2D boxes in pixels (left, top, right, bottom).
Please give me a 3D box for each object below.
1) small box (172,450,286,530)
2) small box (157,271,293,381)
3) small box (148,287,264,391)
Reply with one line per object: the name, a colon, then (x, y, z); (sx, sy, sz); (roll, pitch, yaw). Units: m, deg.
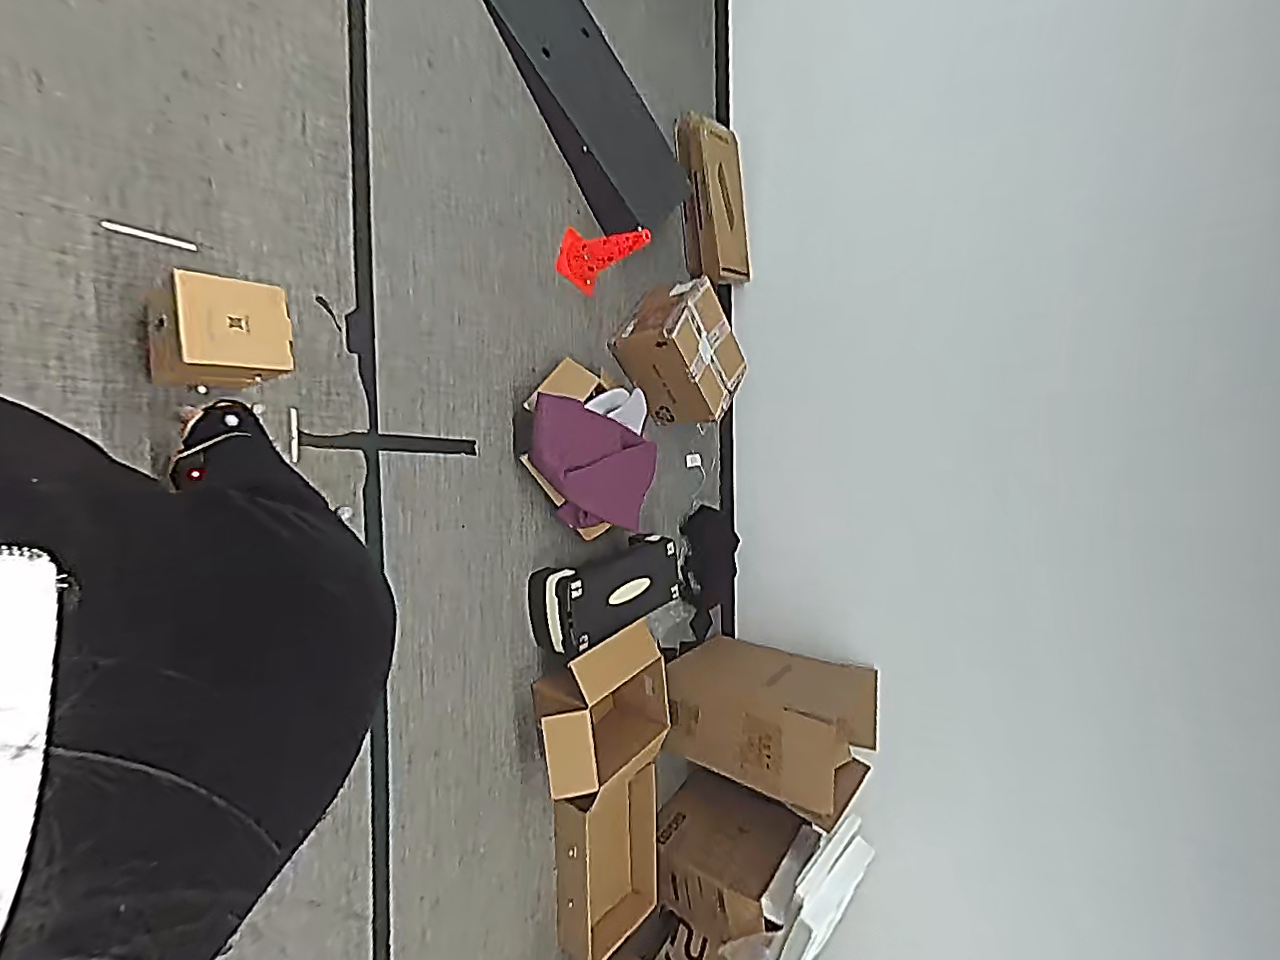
small box: (-0.916, 0.022, 1.203); (0.179, 0.176, 0.168); (-1, 90, -50)
small box: (-0.816, -0.292, 1.065); (0.179, 0.176, 0.168); (-7, 94, -49)
small box: (-0.940, -0.295, 1.171); (0.168, 0.176, 0.179); (-4, 94, -50)
